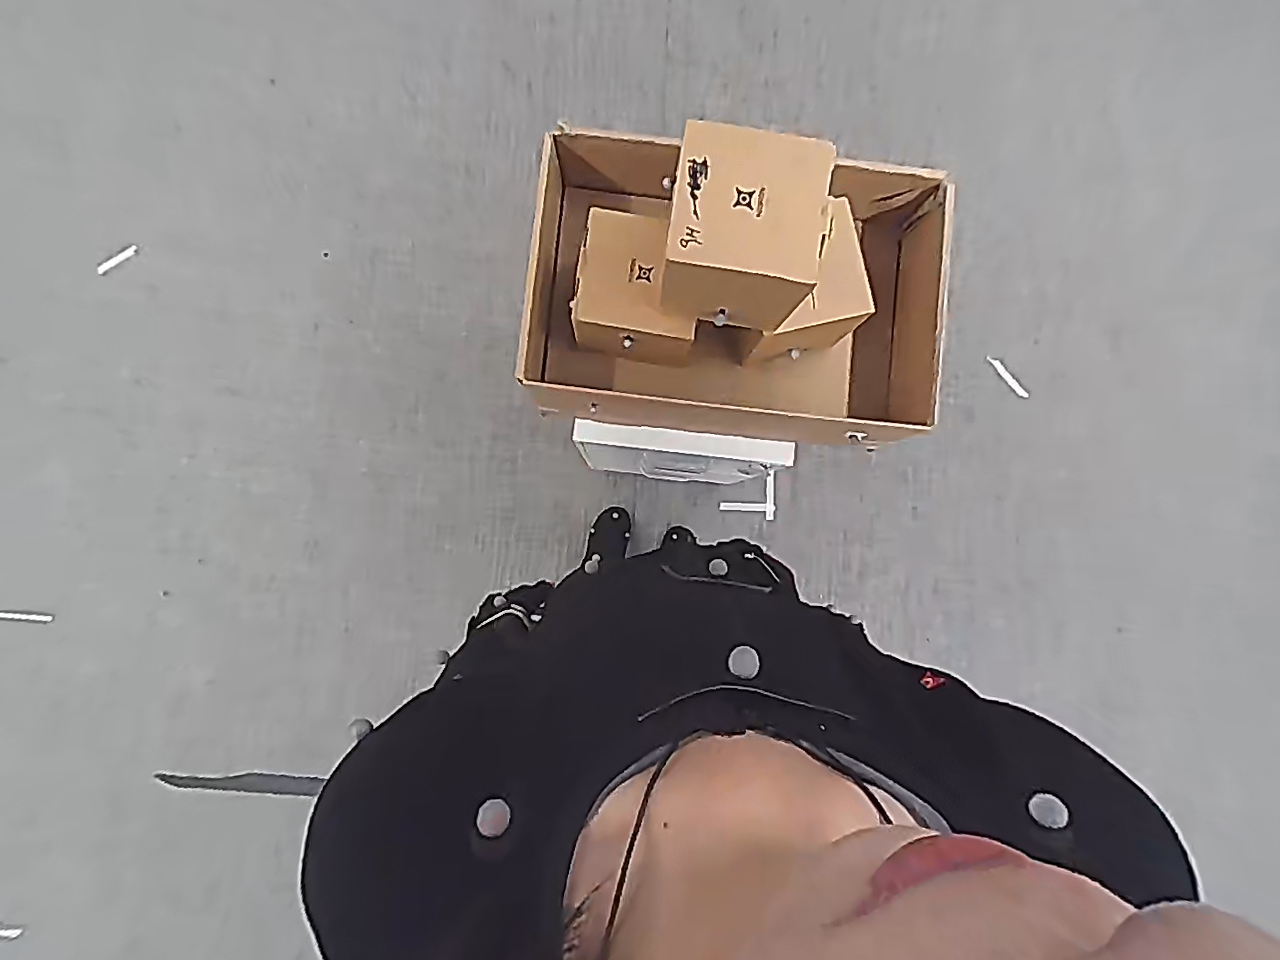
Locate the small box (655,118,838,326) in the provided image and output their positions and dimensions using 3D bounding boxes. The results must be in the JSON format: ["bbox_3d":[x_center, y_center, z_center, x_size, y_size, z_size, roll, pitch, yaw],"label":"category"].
[{"bbox_3d":[0.121,-0.307,0.682,0.179,0.176,0.168,9,87,-2],"label":"small box"}]
